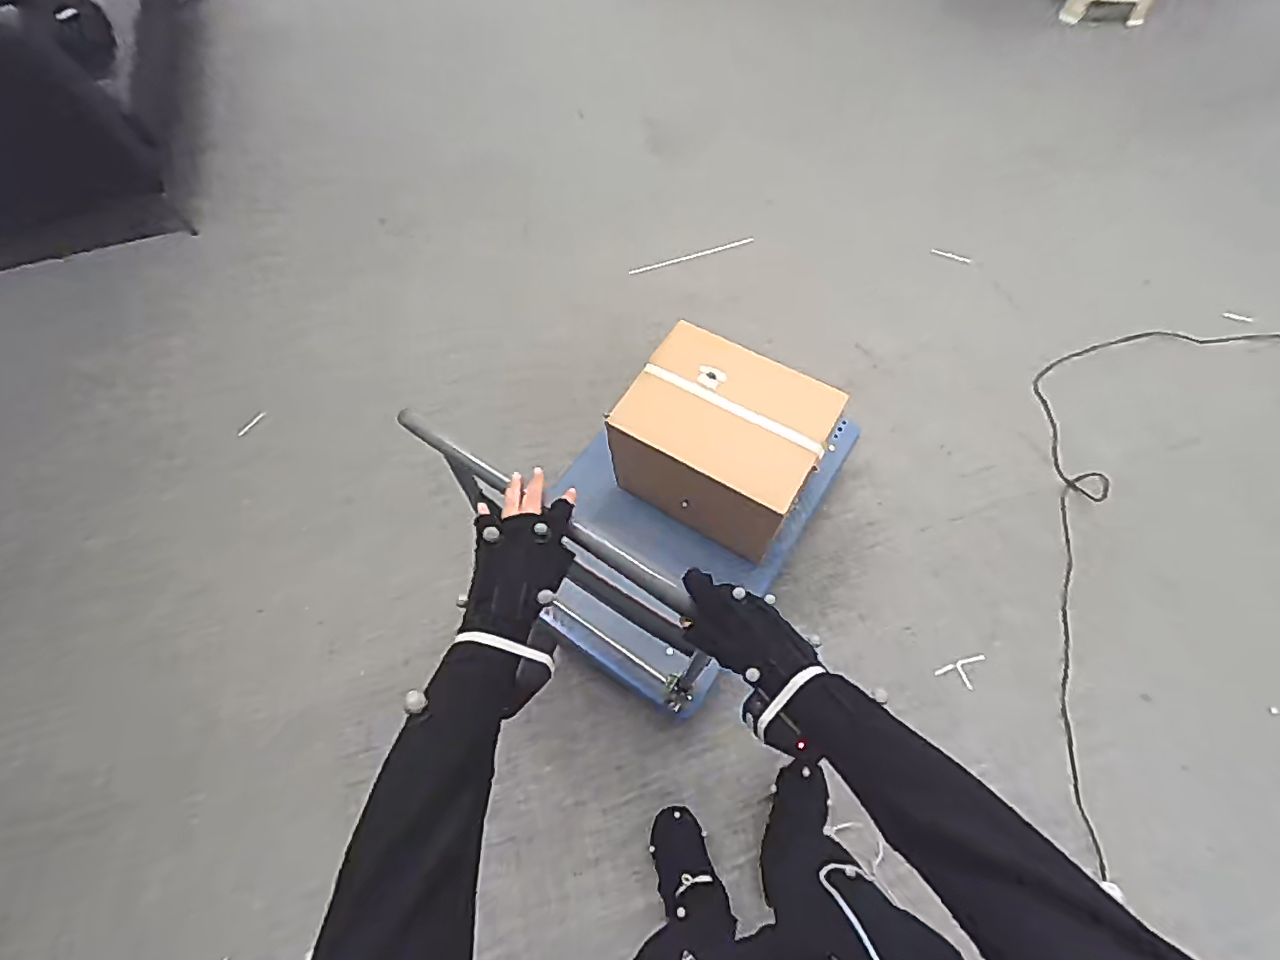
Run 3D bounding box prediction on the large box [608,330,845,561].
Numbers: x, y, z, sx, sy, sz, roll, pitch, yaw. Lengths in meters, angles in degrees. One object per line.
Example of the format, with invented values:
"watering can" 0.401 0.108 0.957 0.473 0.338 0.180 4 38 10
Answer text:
"large box" 0.190 -0.070 1.248 0.408 0.320 0.320 28 67 16
